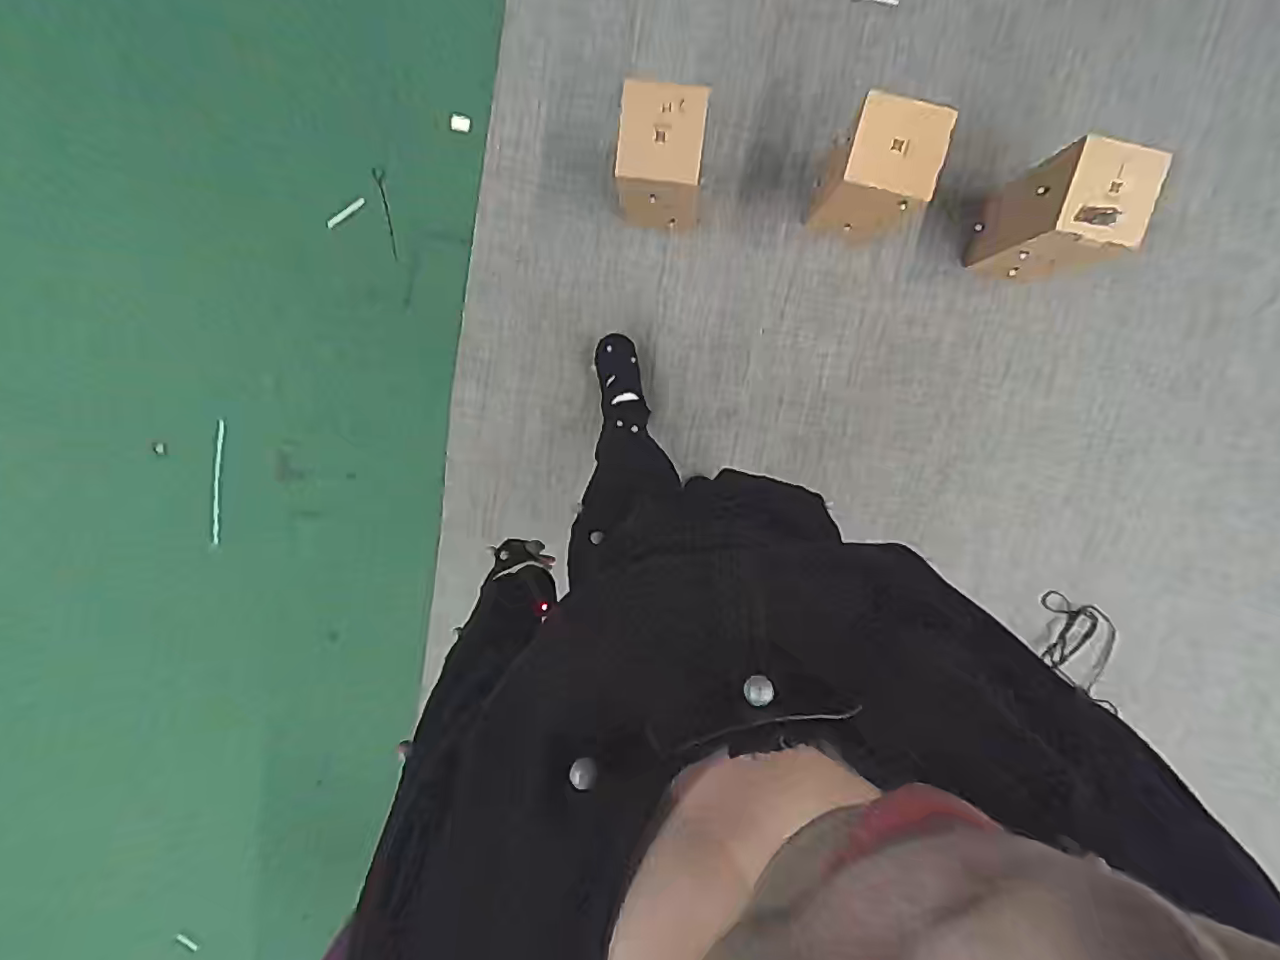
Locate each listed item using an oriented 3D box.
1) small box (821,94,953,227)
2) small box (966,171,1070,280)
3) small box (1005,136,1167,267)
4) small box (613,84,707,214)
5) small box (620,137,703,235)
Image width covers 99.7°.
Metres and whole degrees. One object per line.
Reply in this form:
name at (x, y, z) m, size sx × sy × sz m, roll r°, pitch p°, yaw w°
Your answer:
small box at (0.492, -0.643, 1.109) m, size 0.179 × 0.176 × 0.168 m, roll 14°, pitch 99°, yaw 1°
small box at (0.899, -0.581, 1.261) m, size 0.168 × 0.176 × 0.179 m, roll 12°, pitch 100°, yaw 1°
small box at (0.888, -0.553, 1.099) m, size 0.168 × 0.176 × 0.179 m, roll 14°, pitch 98°, yaw 1°
small box at (0.041, -0.678, 1.128) m, size 0.168 × 0.176 × 0.179 m, roll 7°, pitch 99°, yaw 1°
small box at (0.052, -0.705, 1.290) m, size 0.168 × 0.176 × 0.179 m, roll 9°, pitch 98°, yaw 1°
